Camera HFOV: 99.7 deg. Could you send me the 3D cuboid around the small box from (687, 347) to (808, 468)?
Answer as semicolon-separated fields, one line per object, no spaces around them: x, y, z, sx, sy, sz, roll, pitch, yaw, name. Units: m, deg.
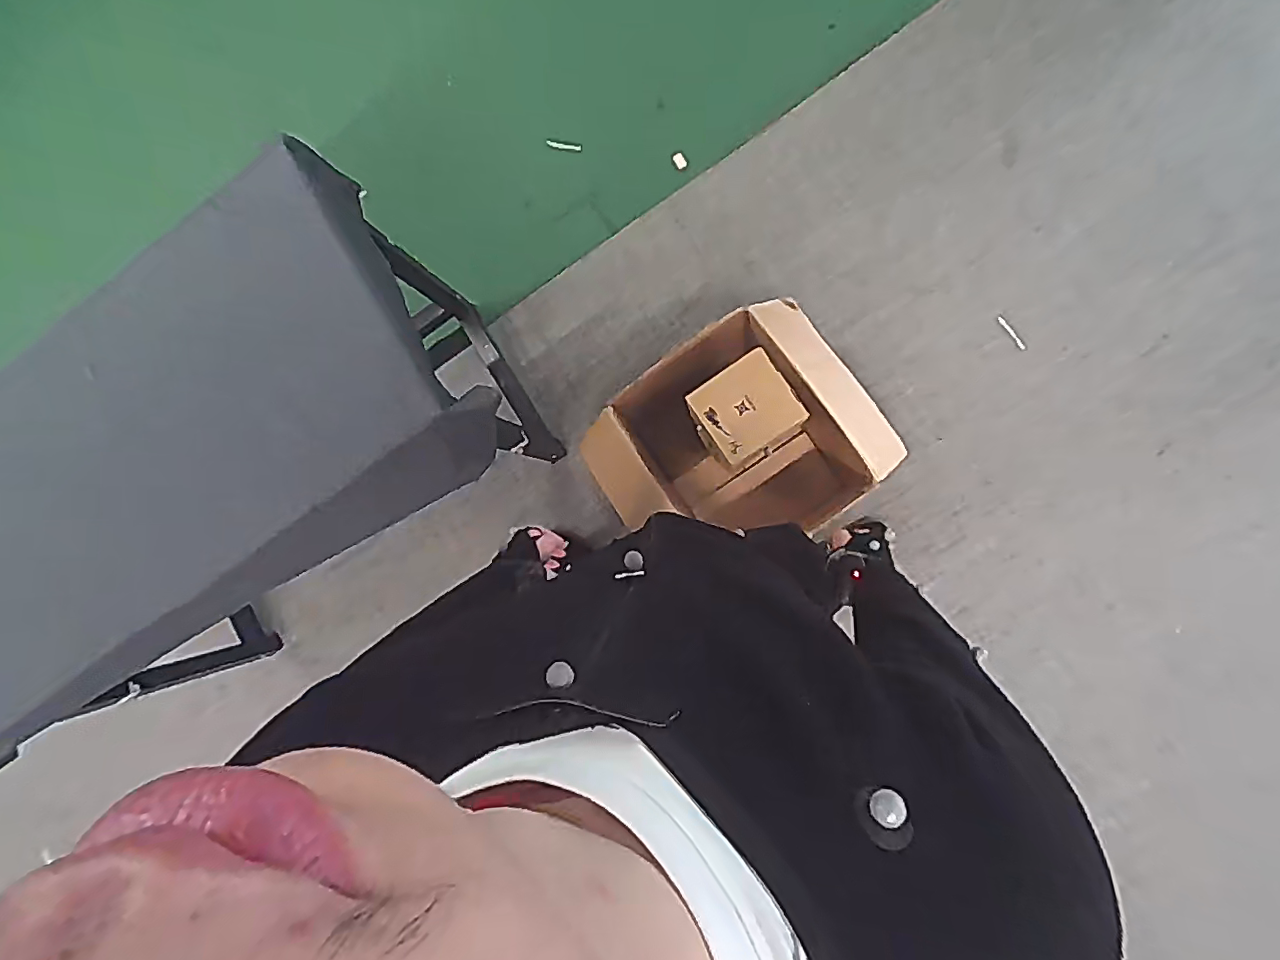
0.210;-0.139;1.104;0.179;0.176;0.168;-33;83;4;small box
